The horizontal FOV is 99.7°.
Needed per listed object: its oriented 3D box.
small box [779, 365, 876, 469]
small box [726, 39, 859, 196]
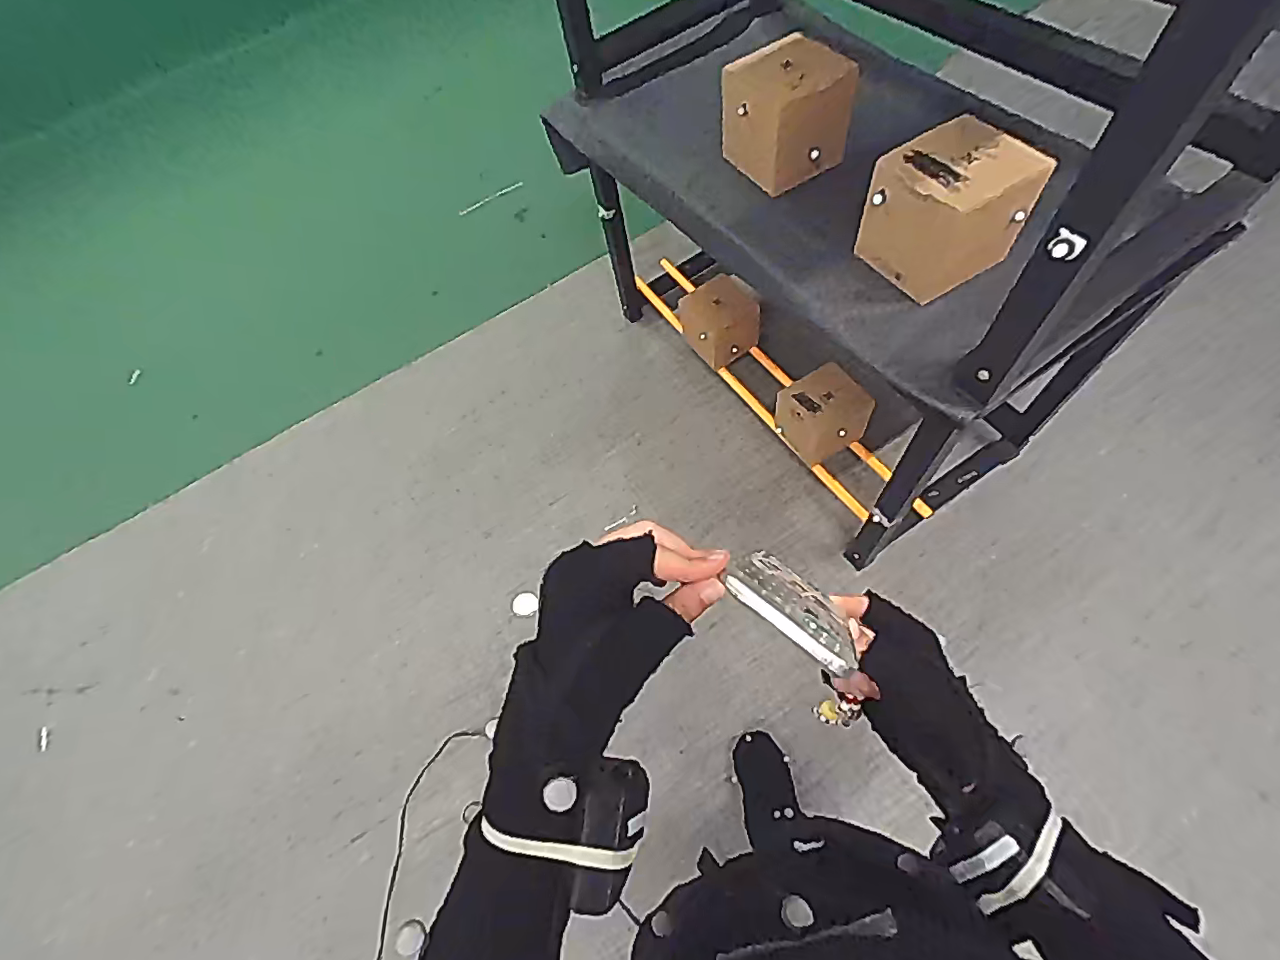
[{"bbox_3d":[0.483,-0.159,1.420,0.179,0.176,0.168,-30,62,-6],"label":"small box"},{"bbox_3d":[0.275,-0.676,1.017,0.168,0.176,0.179,-30,61,-7],"label":"small box"}]
